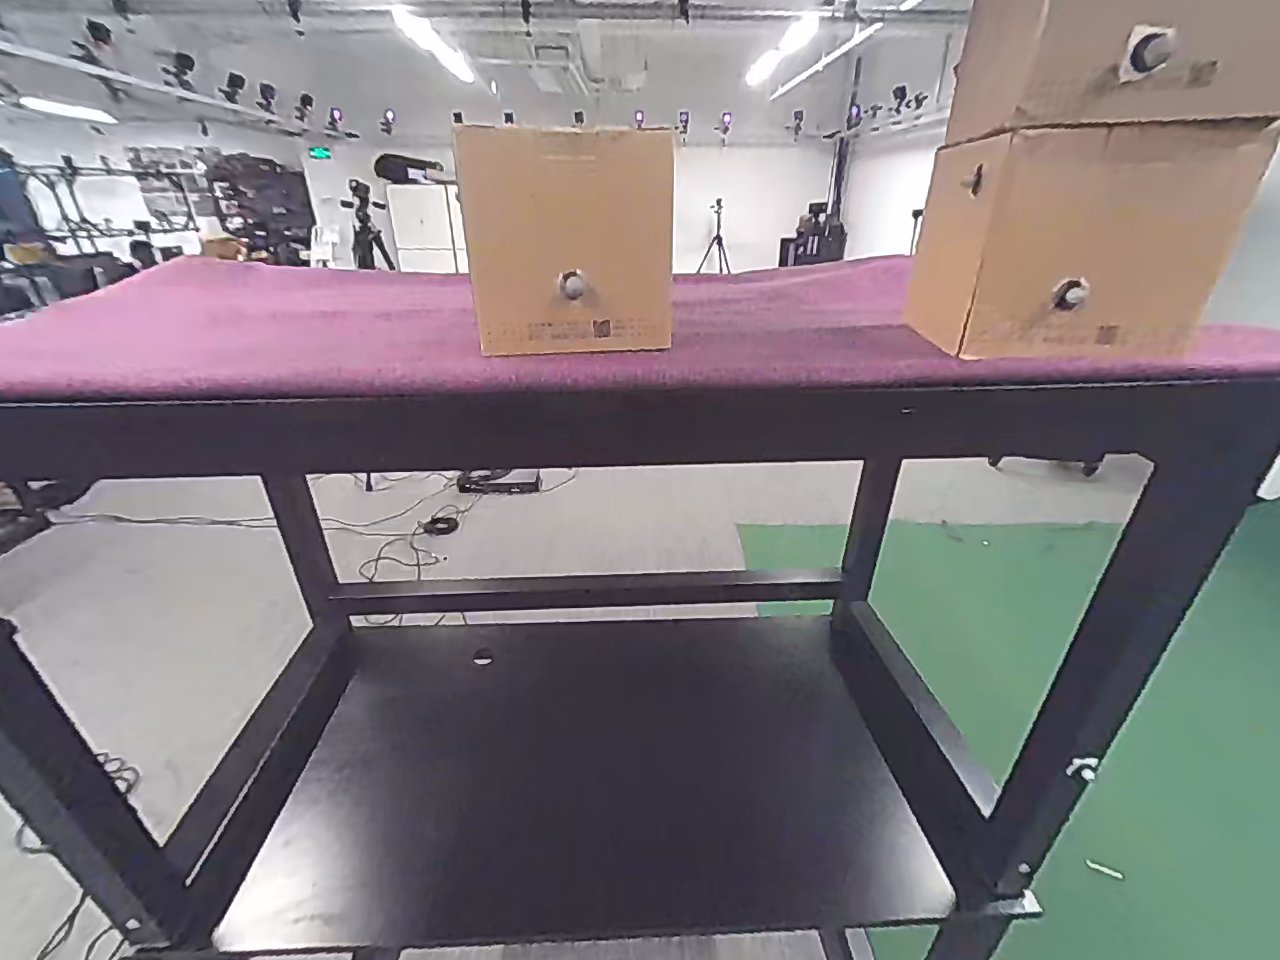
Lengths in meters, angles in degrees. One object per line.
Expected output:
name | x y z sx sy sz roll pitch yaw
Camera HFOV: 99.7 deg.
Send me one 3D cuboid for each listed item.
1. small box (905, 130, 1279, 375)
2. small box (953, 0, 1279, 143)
small box | 0.355 -0.201 0.476 0.168 0.176 0.179 3 29 7
small box | 0.354 -0.341 0.394 0.168 0.176 0.179 4 30 11
